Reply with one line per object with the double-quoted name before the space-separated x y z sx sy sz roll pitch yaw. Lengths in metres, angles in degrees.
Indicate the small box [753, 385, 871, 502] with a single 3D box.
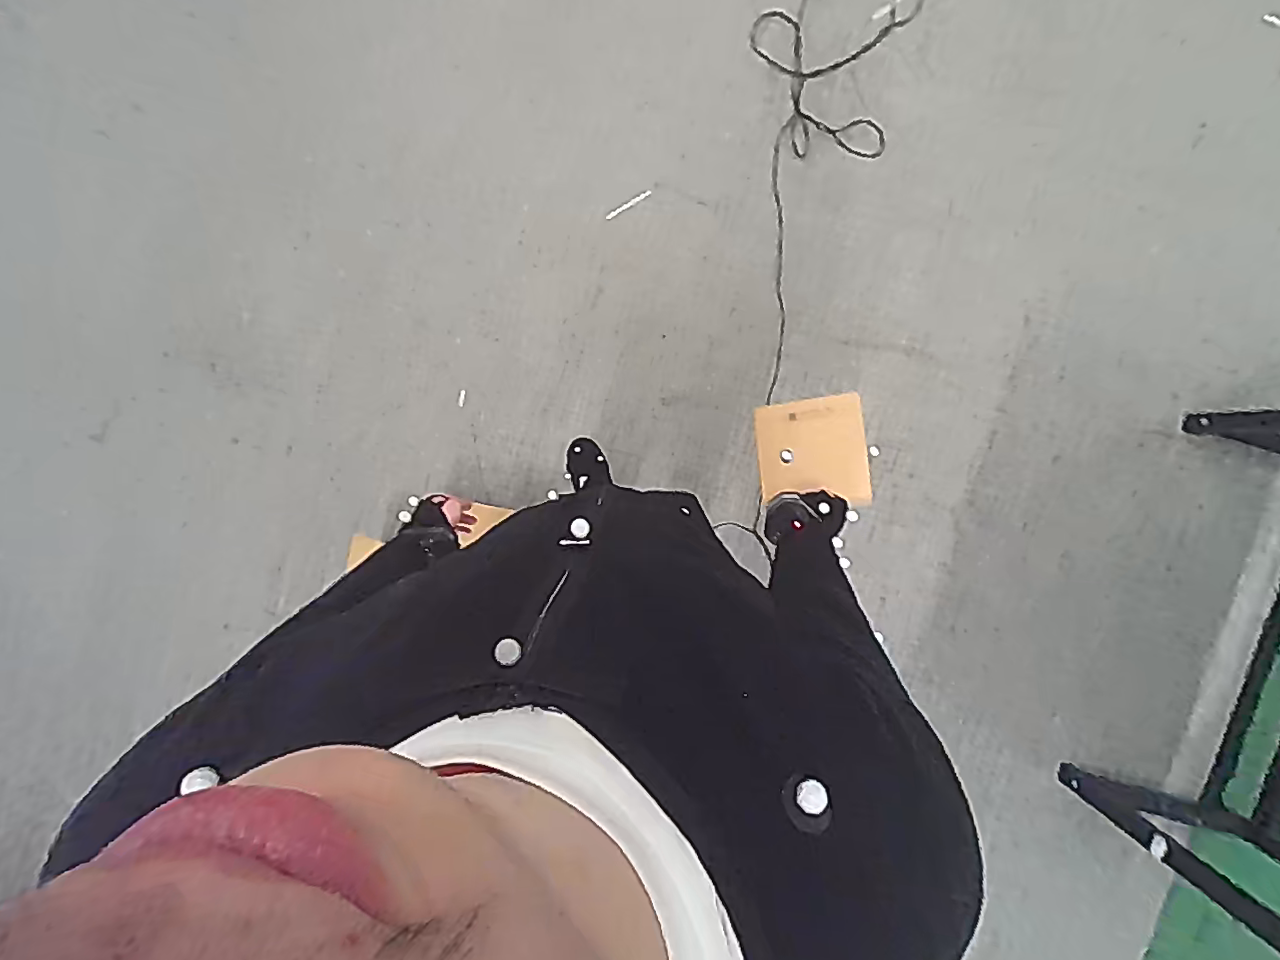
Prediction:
"small box" 0.295 -0.058 0.922 0.168 0.179 0.176 -7 84 23
